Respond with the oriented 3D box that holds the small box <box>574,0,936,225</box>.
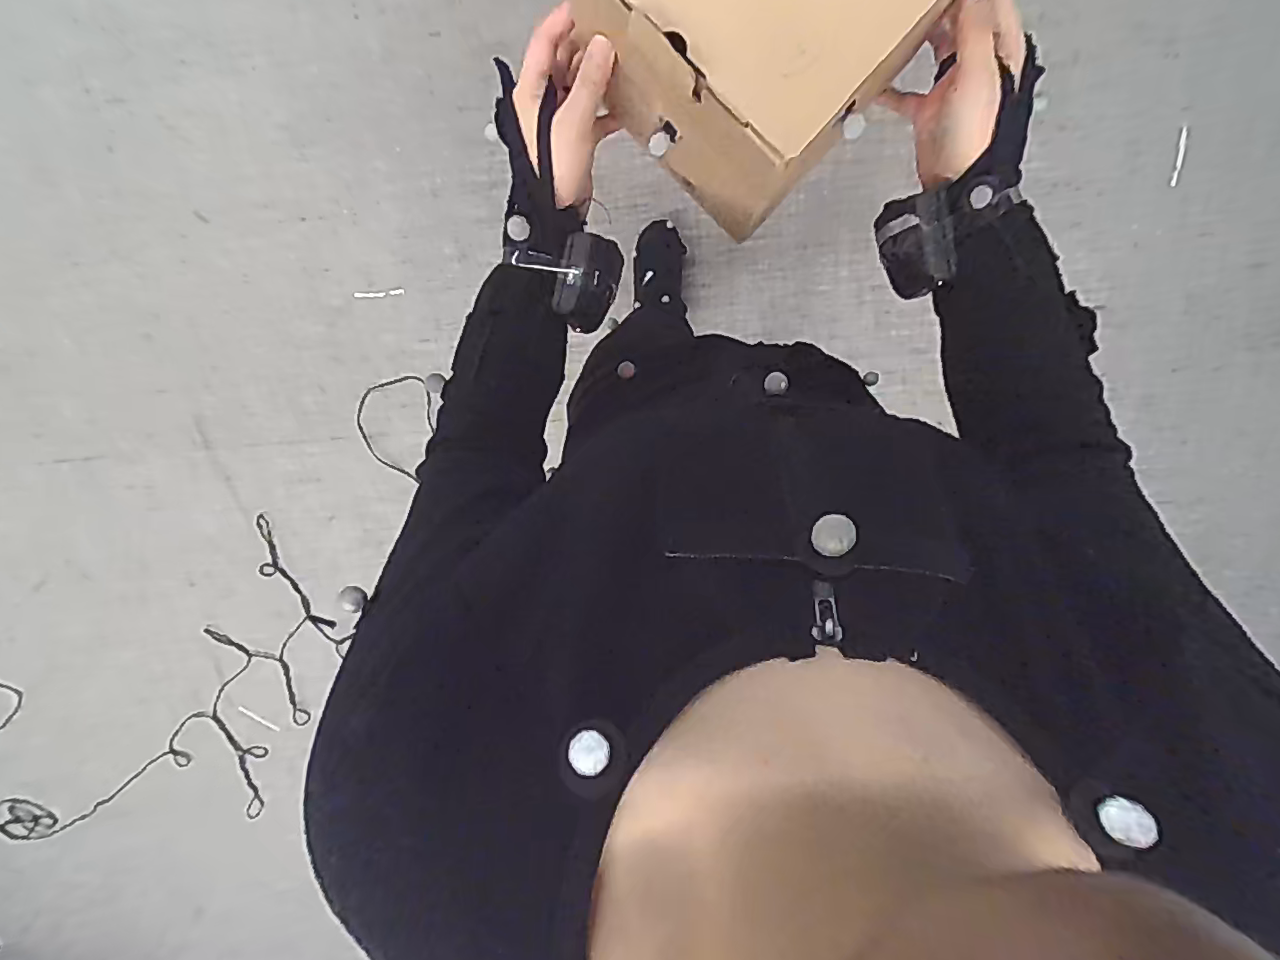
[{"bbox_3d":[0.076,-0.299,0.342,0.168,0.176,0.179,42,100,-5],"label":"small box"}]
